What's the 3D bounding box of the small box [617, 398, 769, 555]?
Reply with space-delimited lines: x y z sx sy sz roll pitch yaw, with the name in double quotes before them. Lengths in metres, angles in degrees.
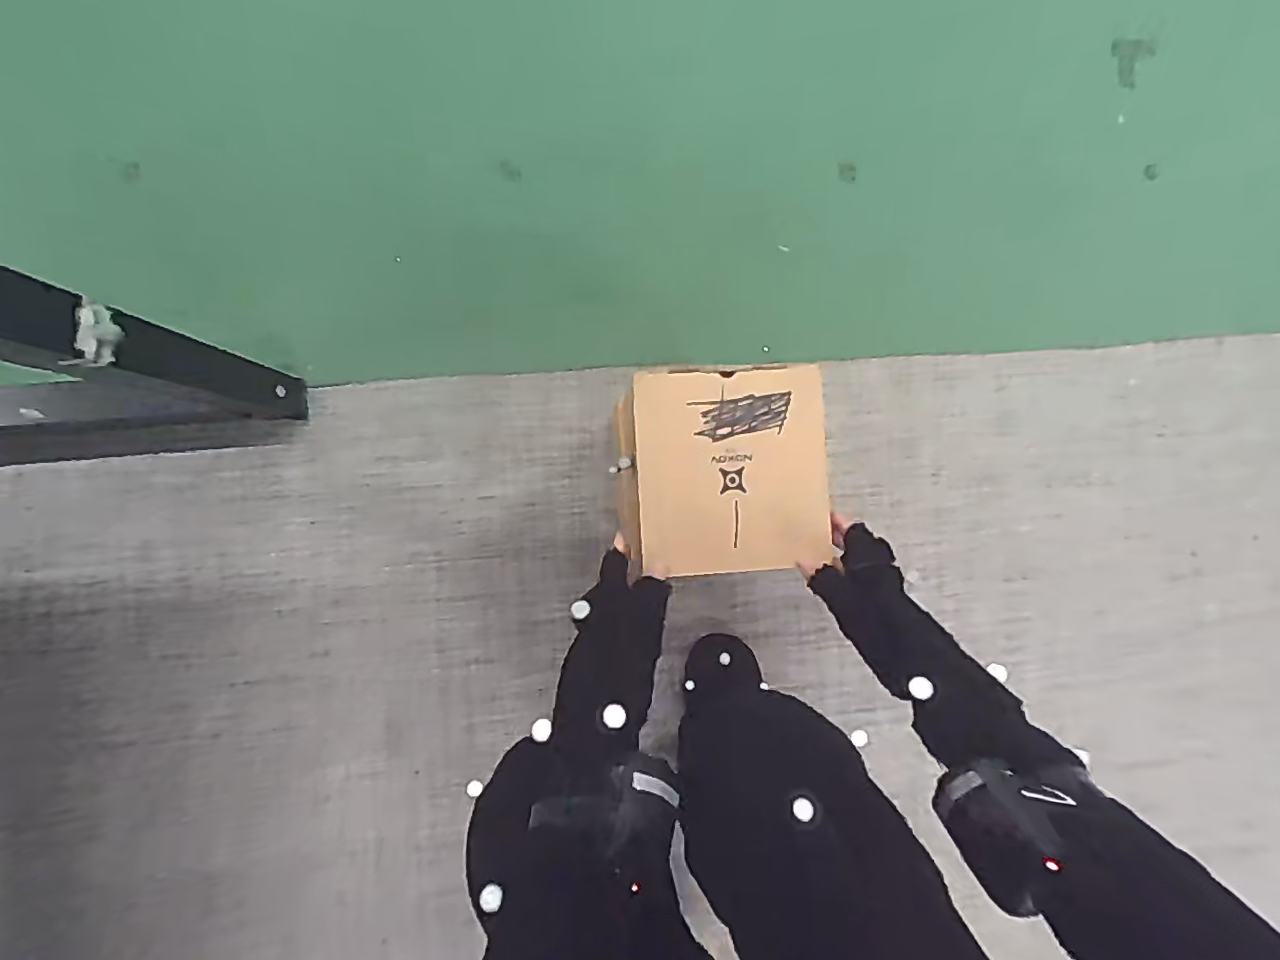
"small box" 0.059 -0.003 0.706 0.168 0.176 0.179 -4 90 -4
